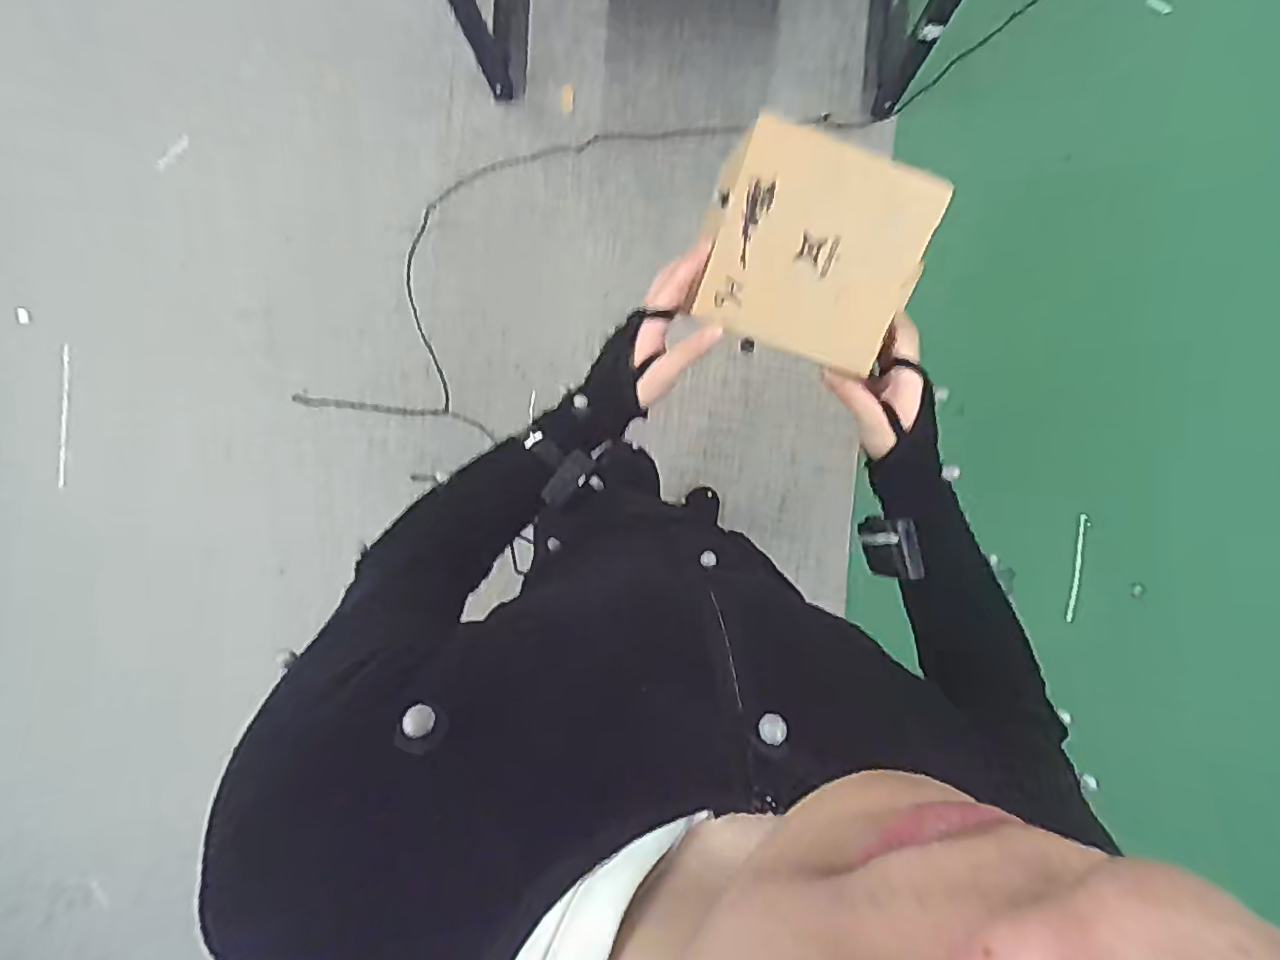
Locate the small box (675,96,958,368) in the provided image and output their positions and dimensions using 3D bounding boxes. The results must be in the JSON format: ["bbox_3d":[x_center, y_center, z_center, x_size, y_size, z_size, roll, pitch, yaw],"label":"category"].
[{"bbox_3d":[0.147,-0.223,0.521,0.179,0.176,0.168,17,107,-8],"label":"small box"}]
